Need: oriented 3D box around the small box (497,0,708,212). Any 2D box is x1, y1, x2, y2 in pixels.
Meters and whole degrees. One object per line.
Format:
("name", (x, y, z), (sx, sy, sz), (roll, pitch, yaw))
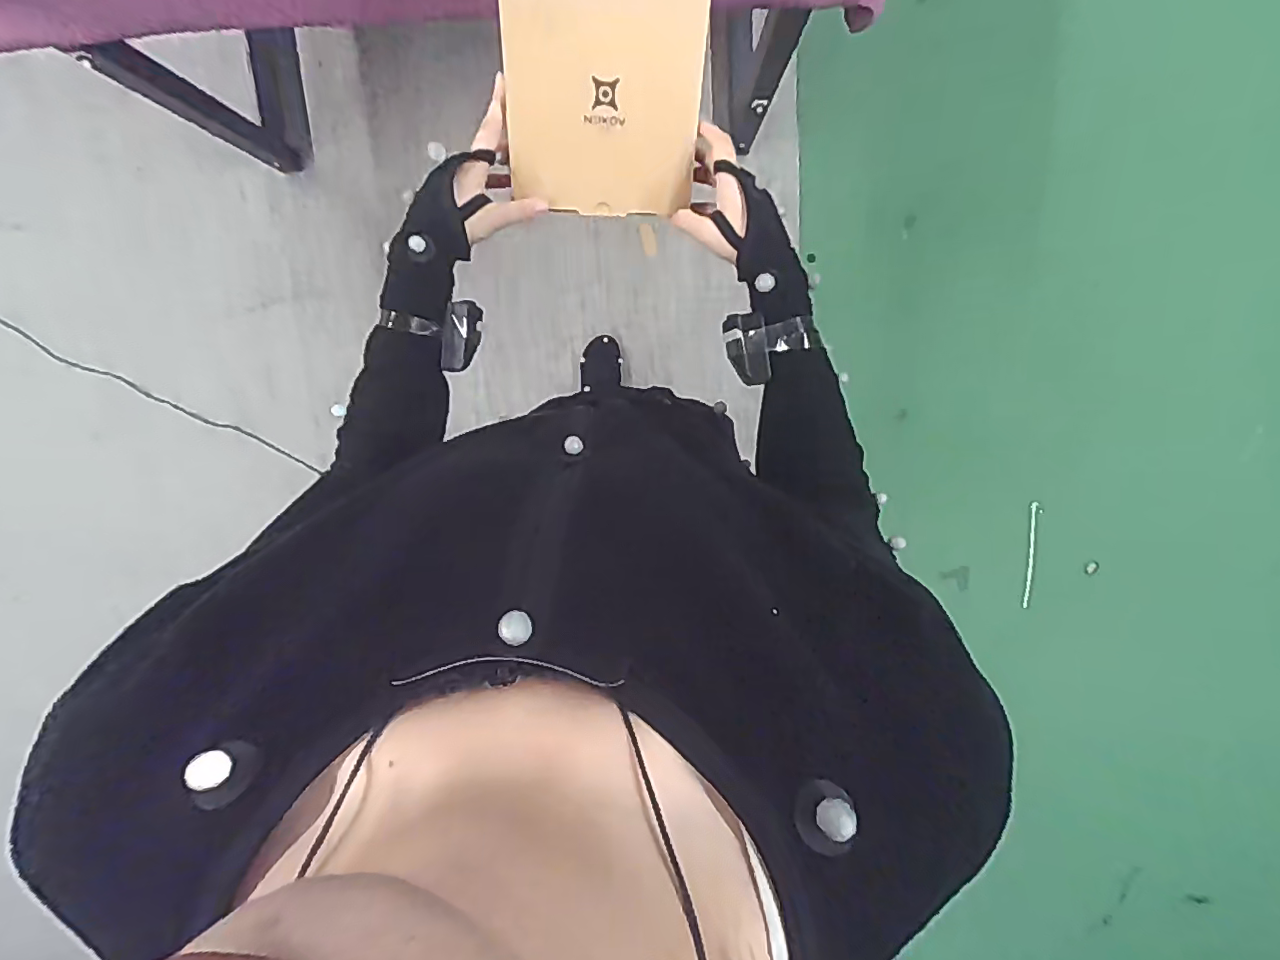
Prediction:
("small box", (-0.042, -0.365, 0.510), (0.168, 0.176, 0.179), (-1, 125, -7))
